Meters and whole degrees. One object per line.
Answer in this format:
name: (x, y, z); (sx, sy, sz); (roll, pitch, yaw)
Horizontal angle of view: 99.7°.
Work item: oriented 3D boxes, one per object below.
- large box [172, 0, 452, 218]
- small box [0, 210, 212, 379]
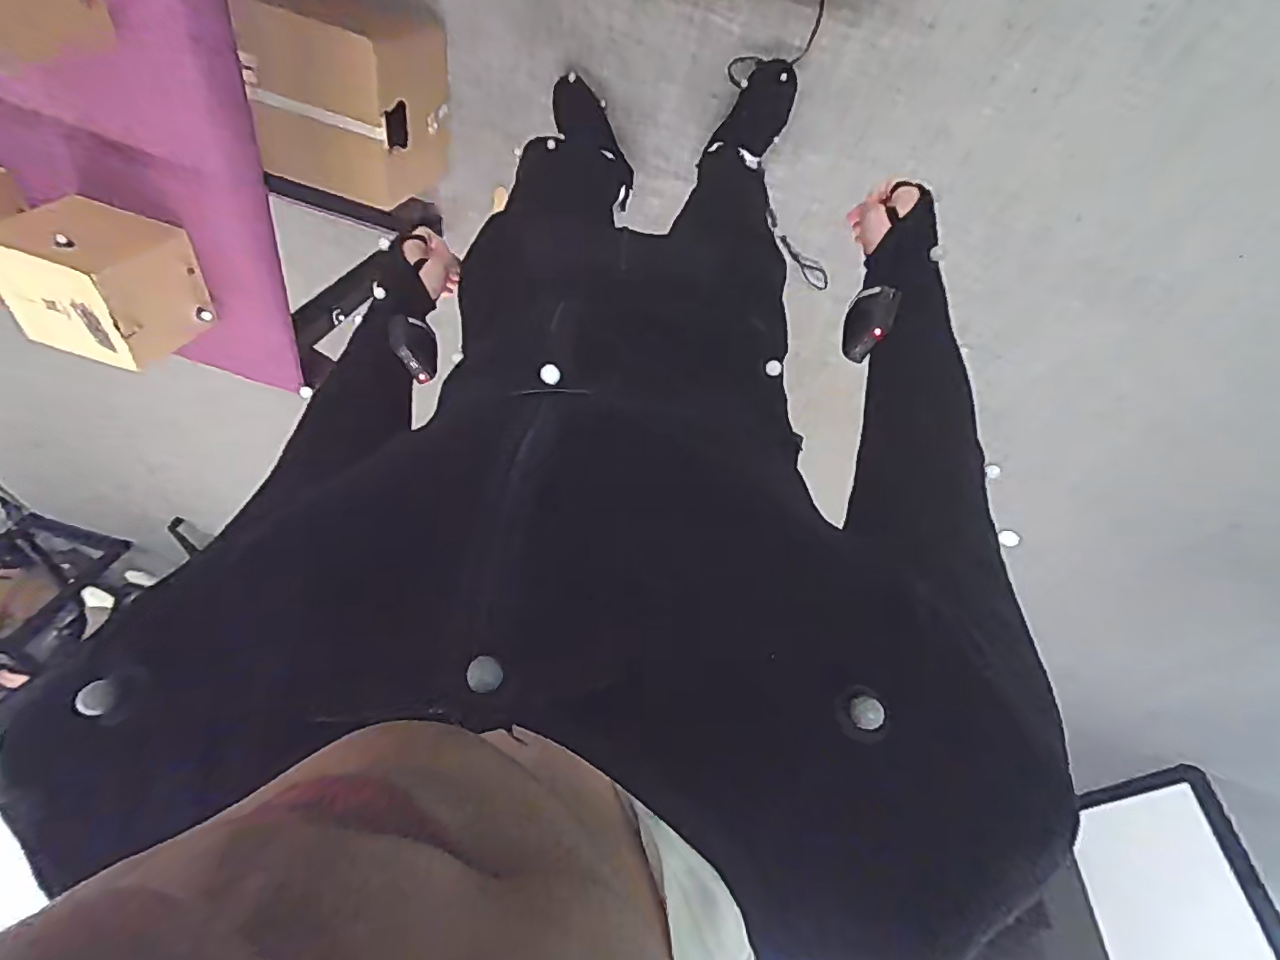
large box: (-0.676, -0.841, 1.203); (0.408, 0.320, 0.320); (17, 133, -1)
small box: (-0.809, -0.289, 0.830); (0.179, 0.176, 0.168); (18, 133, -1)
